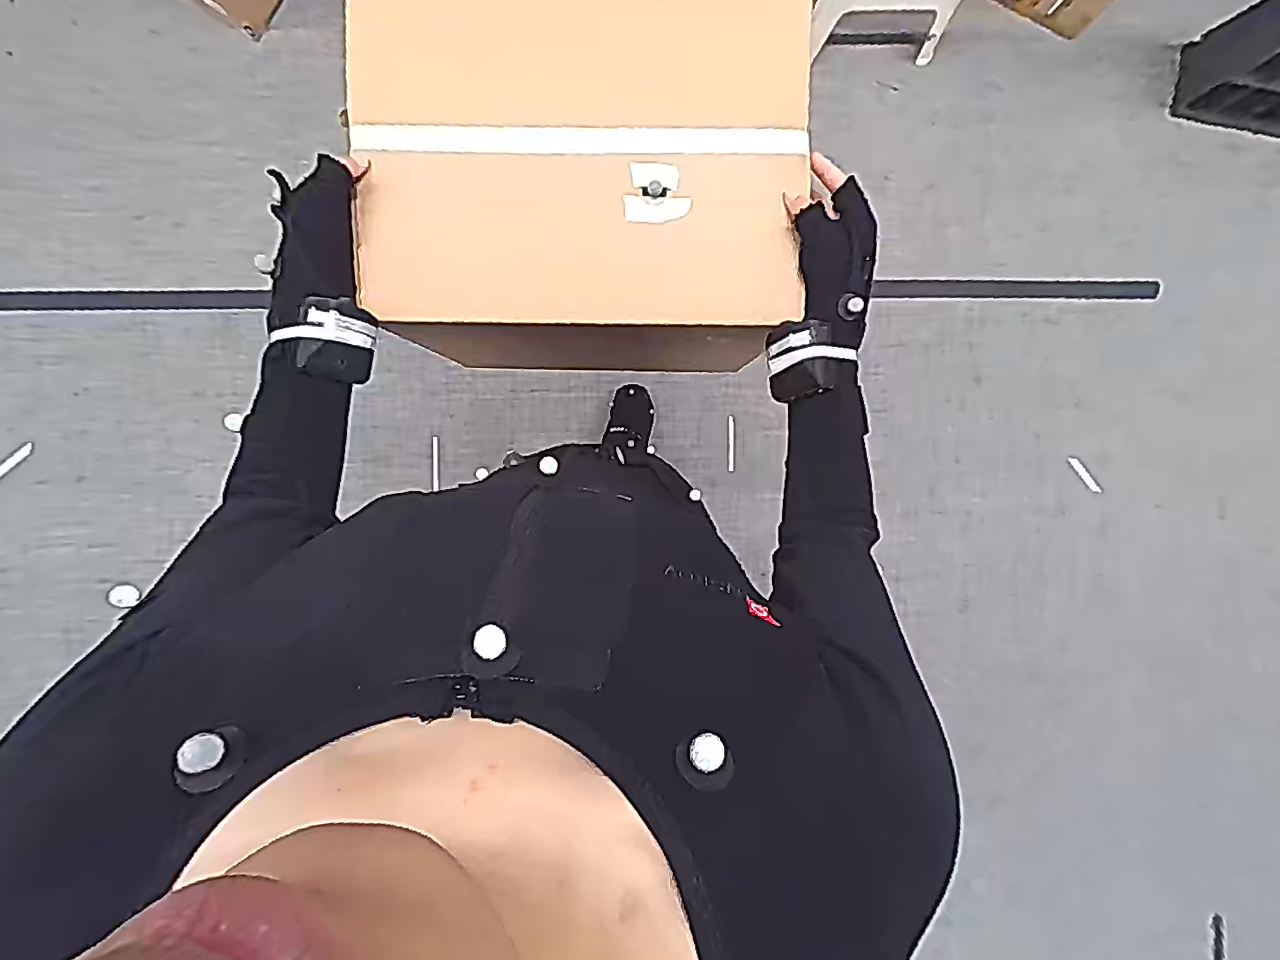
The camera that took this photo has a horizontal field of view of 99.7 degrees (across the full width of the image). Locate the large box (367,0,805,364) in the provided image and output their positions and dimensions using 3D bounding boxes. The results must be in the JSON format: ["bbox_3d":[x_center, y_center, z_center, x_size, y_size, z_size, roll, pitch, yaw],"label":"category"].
[{"bbox_3d":[-0.052,-0.318,0.645,0.408,0.320,0.320,0,95,-1],"label":"large box"}]
